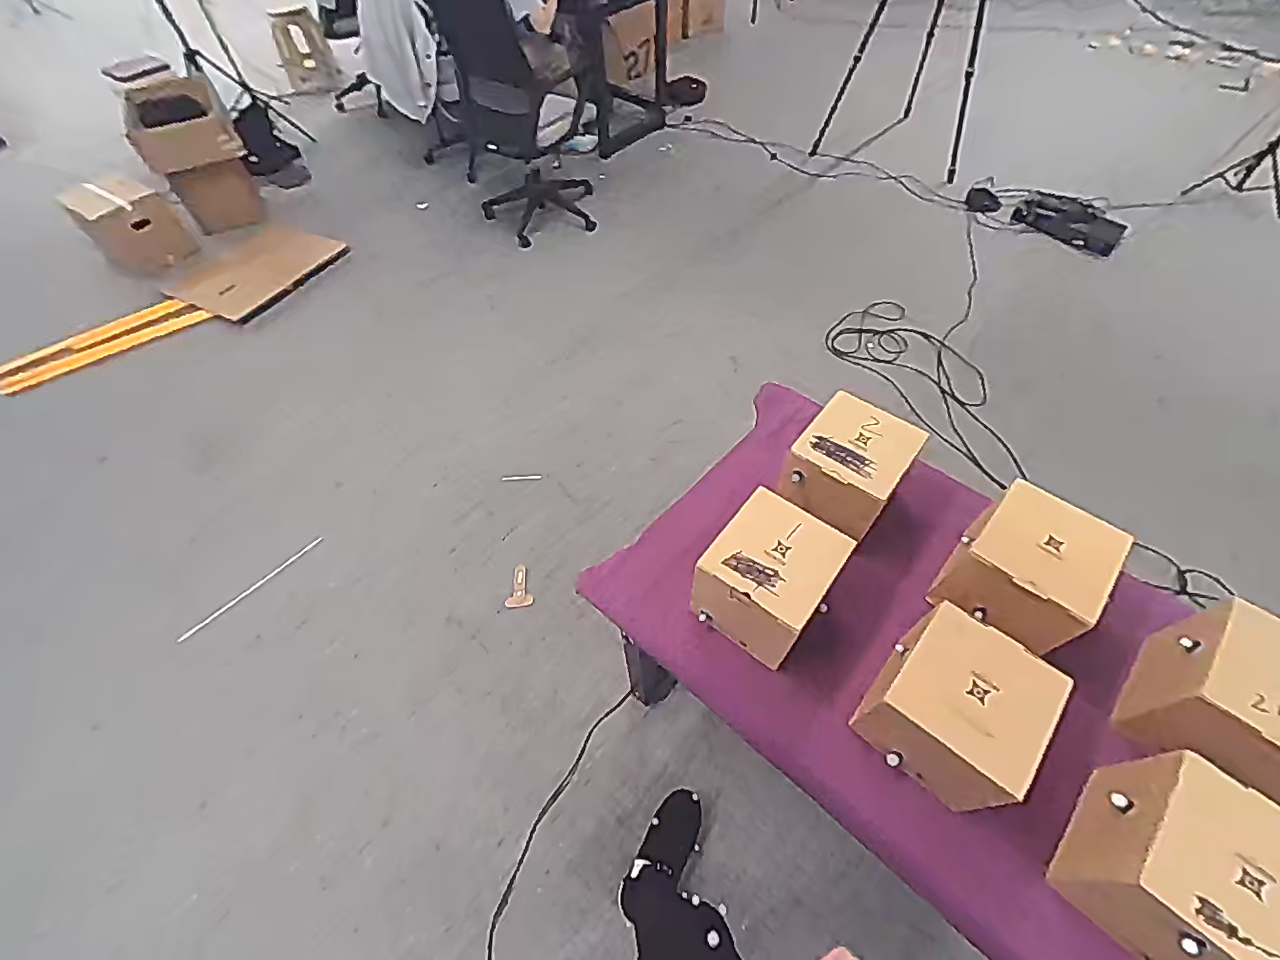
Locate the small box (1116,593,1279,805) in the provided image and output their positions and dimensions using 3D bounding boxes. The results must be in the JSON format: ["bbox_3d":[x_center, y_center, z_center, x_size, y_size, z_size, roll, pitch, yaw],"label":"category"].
[{"bbox_3d":[0.783,0.288,0.707,0.168,0.176,0.179,36,65,26],"label":"small box"}]

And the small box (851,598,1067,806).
[{"bbox_3d":[0.410,0.299,0.724,0.168,0.176,0.179,35,64,25],"label":"small box"}]

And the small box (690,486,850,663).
[{"bbox_3d":[0.192,0.151,0.836,0.168,0.176,0.179,33,61,23],"label":"small box"}]

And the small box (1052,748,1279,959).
[{"bbox_3d":[0.616,0.443,0.609,0.168,0.176,0.179,37,64,26],"label":"small box"}]

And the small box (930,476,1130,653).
[{"bbox_3d":[0.582,0.134,0.830,0.168,0.176,0.179,35,65,24],"label":"small box"}]
